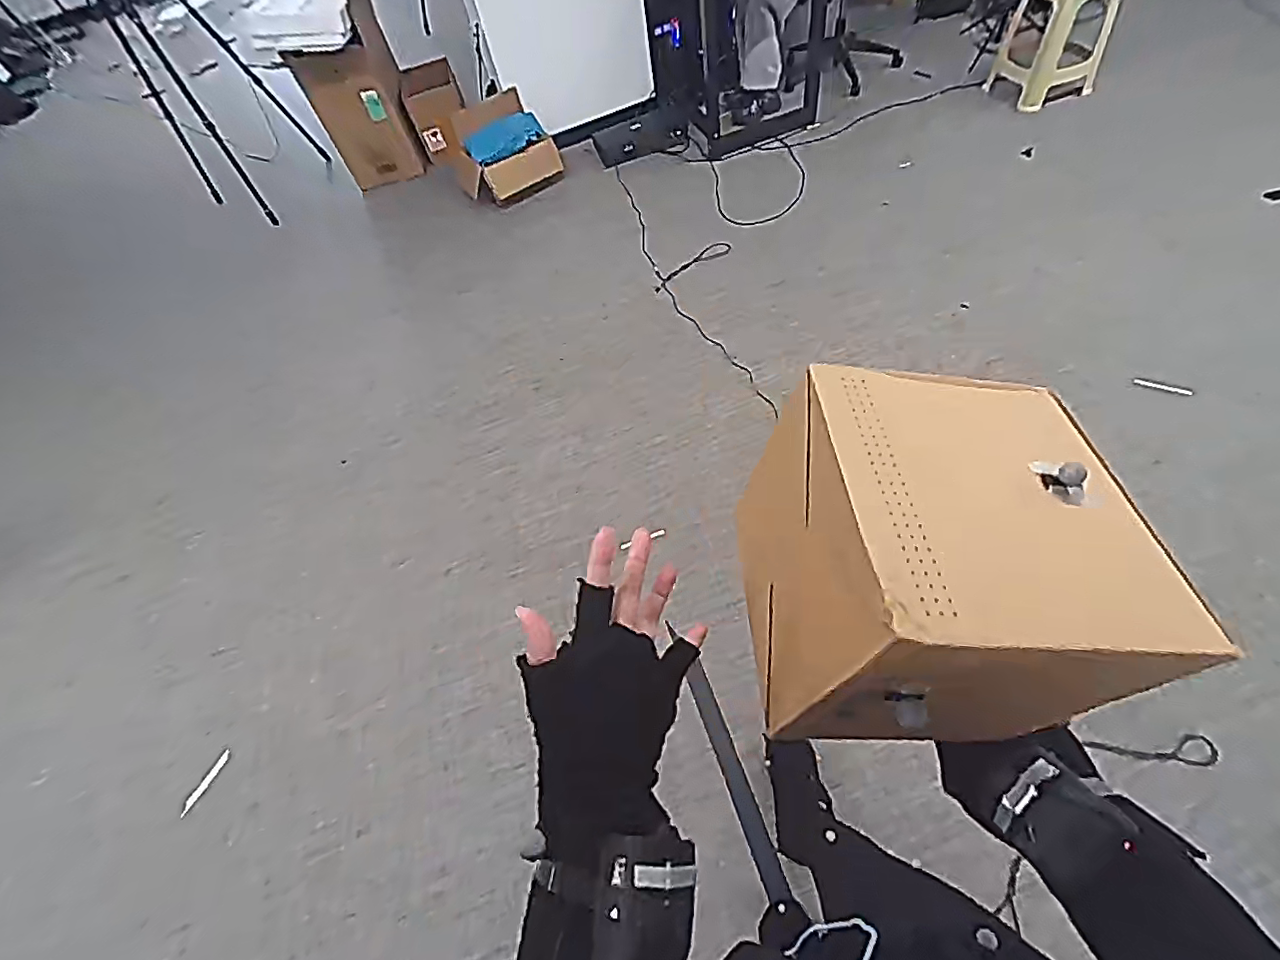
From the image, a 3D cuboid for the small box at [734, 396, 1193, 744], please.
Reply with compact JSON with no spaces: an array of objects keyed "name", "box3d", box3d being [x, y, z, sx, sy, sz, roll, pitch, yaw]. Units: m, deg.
[{"name":"small box","box3d":[0.167,0.061,0.356,0.176,0.168,0.179,3,52,-6]}]
